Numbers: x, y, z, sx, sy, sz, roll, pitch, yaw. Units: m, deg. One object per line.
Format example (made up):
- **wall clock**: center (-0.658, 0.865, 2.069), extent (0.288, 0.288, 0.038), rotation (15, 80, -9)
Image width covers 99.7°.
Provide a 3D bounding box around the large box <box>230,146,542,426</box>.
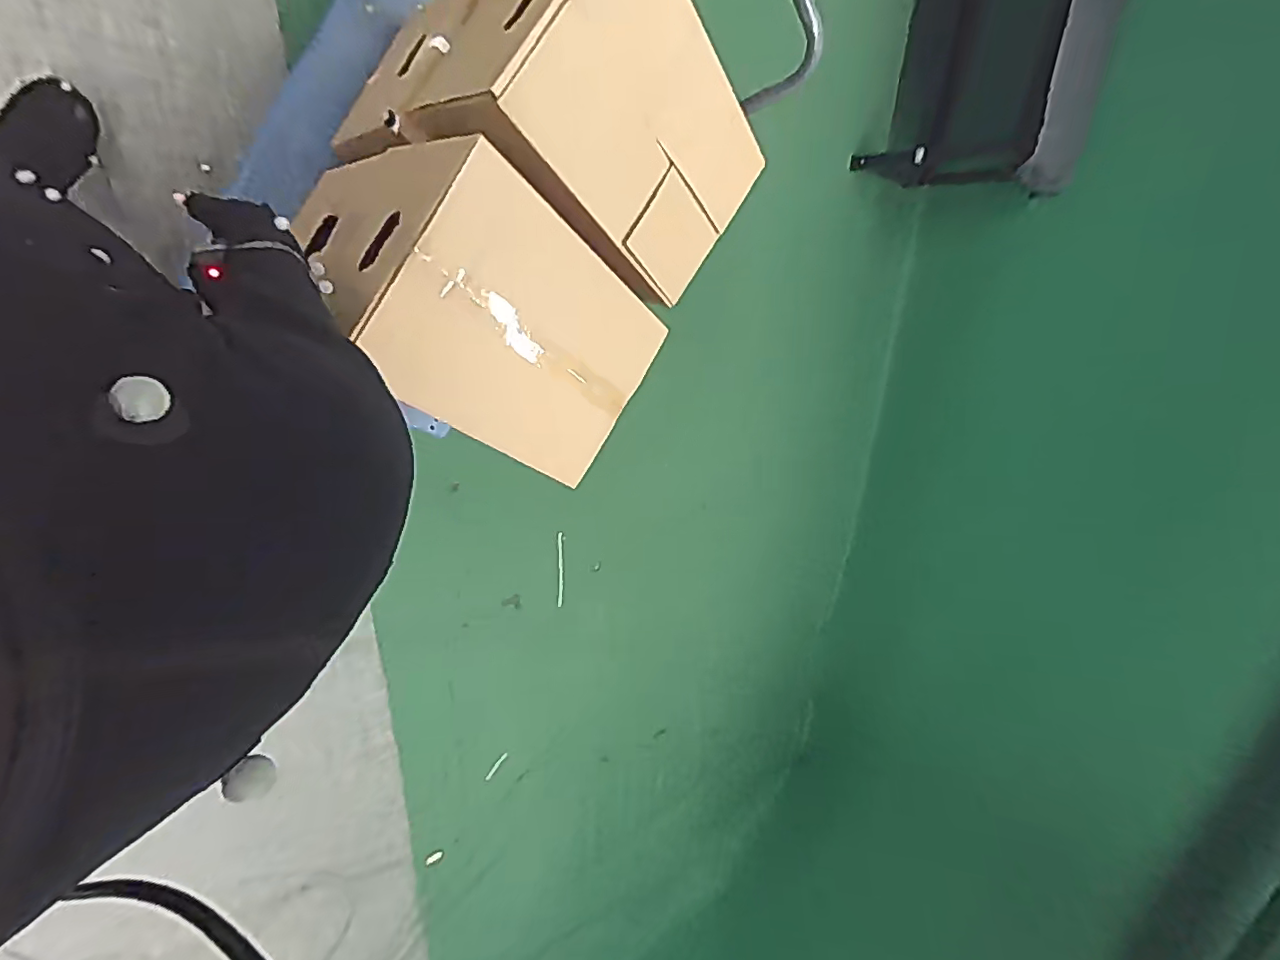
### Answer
- **large box**: center (-0.481, -0.349, 1.055), extent (0.408, 0.320, 0.320), rotation (32, 82, -47)
